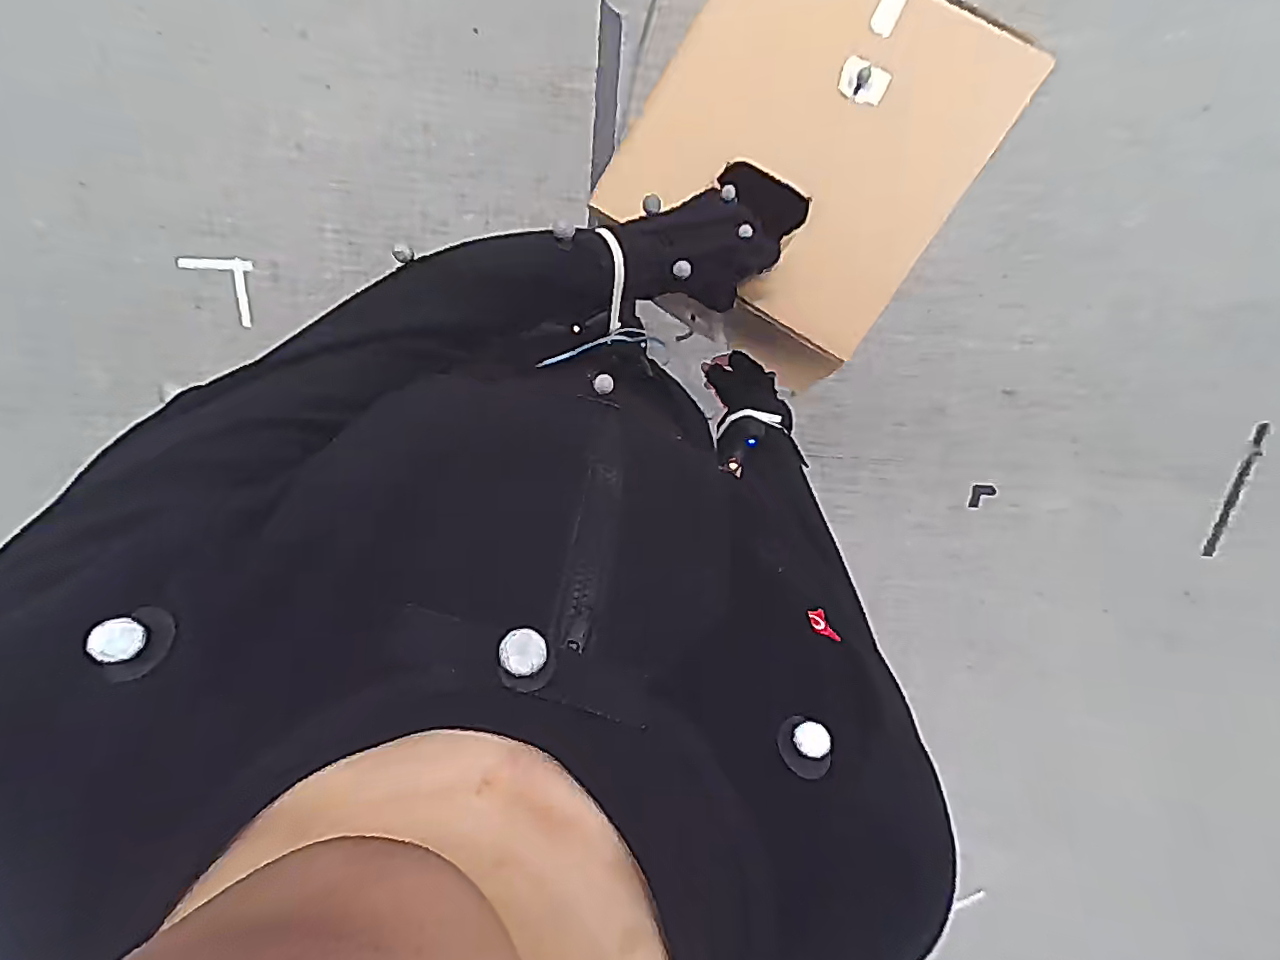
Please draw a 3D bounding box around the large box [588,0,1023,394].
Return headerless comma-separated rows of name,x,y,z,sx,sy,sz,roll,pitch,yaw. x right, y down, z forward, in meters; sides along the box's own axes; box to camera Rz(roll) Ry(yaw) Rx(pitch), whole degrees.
large box,0.189,-0.340,0.716,0.320,0.408,0.320,36,101,7
